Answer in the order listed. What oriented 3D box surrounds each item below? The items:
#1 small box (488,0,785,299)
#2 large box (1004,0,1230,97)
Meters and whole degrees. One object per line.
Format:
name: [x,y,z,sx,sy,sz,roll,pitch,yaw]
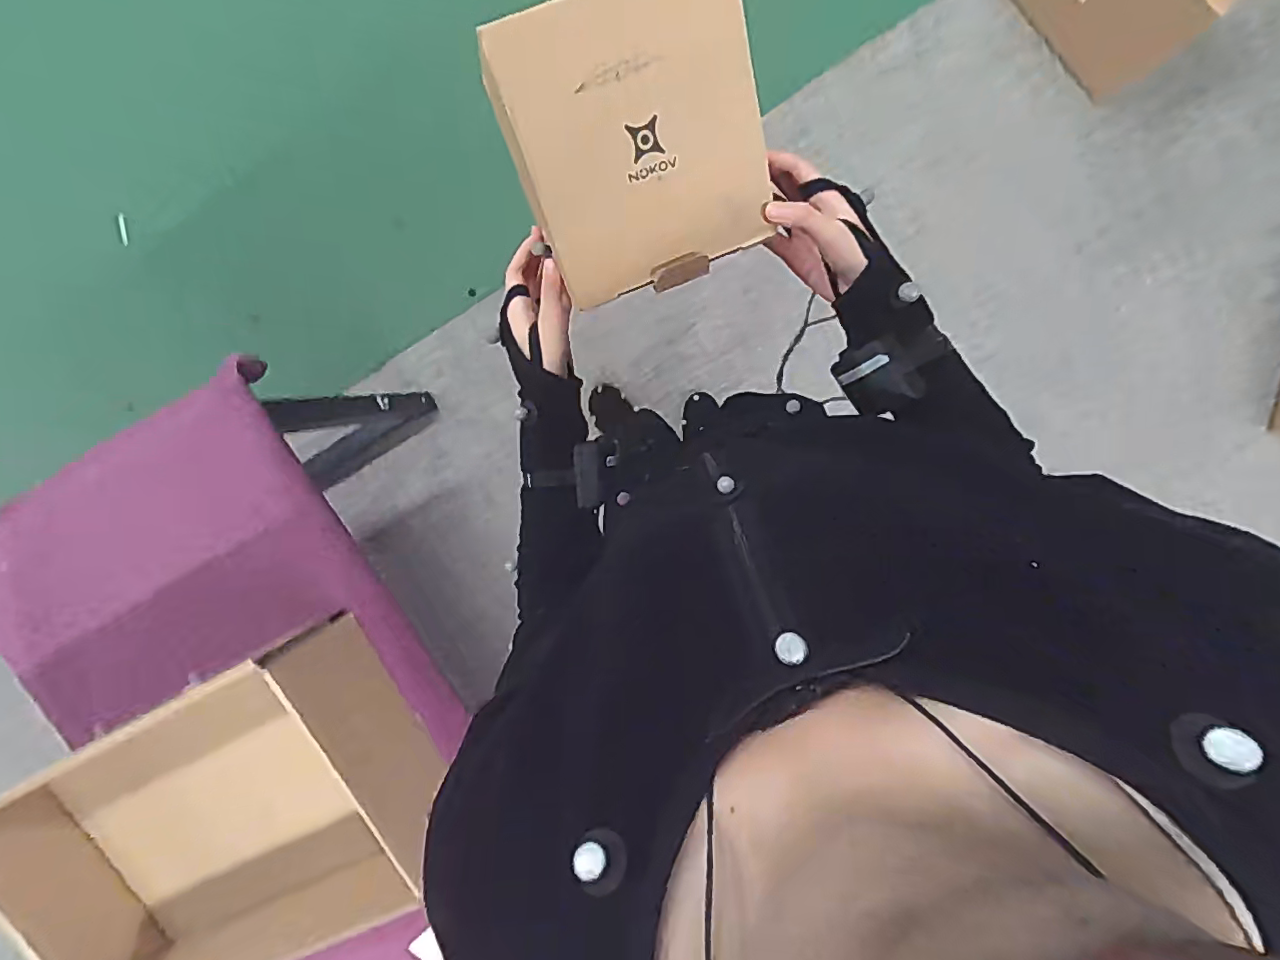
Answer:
small box: [-0.006,-0.266,0.426,0.168,0.176,0.179,-21,120,-3]
large box: [1.024,-1.112,1.093,0.320,0.320,0.408,-44,93,9]
